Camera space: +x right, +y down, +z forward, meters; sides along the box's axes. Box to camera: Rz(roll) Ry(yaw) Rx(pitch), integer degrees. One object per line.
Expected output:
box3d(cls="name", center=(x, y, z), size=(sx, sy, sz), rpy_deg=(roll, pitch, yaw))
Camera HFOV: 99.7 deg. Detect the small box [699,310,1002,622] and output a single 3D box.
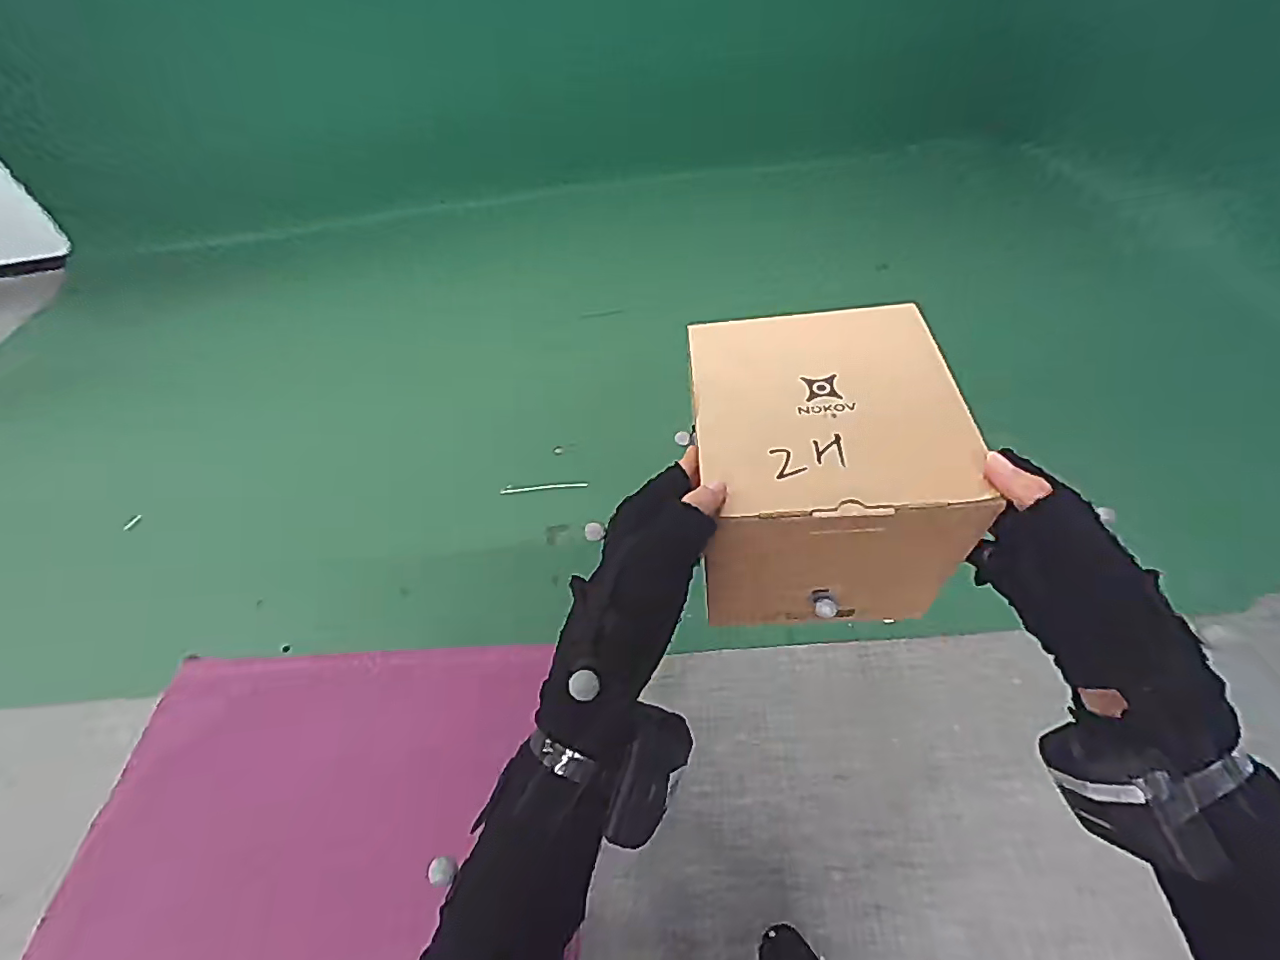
box3d(cls="small box", center=(0.131, -0.005, 0.419), size=(0.168, 0.176, 0.179), rpy_deg=(-3, 54, 7))
